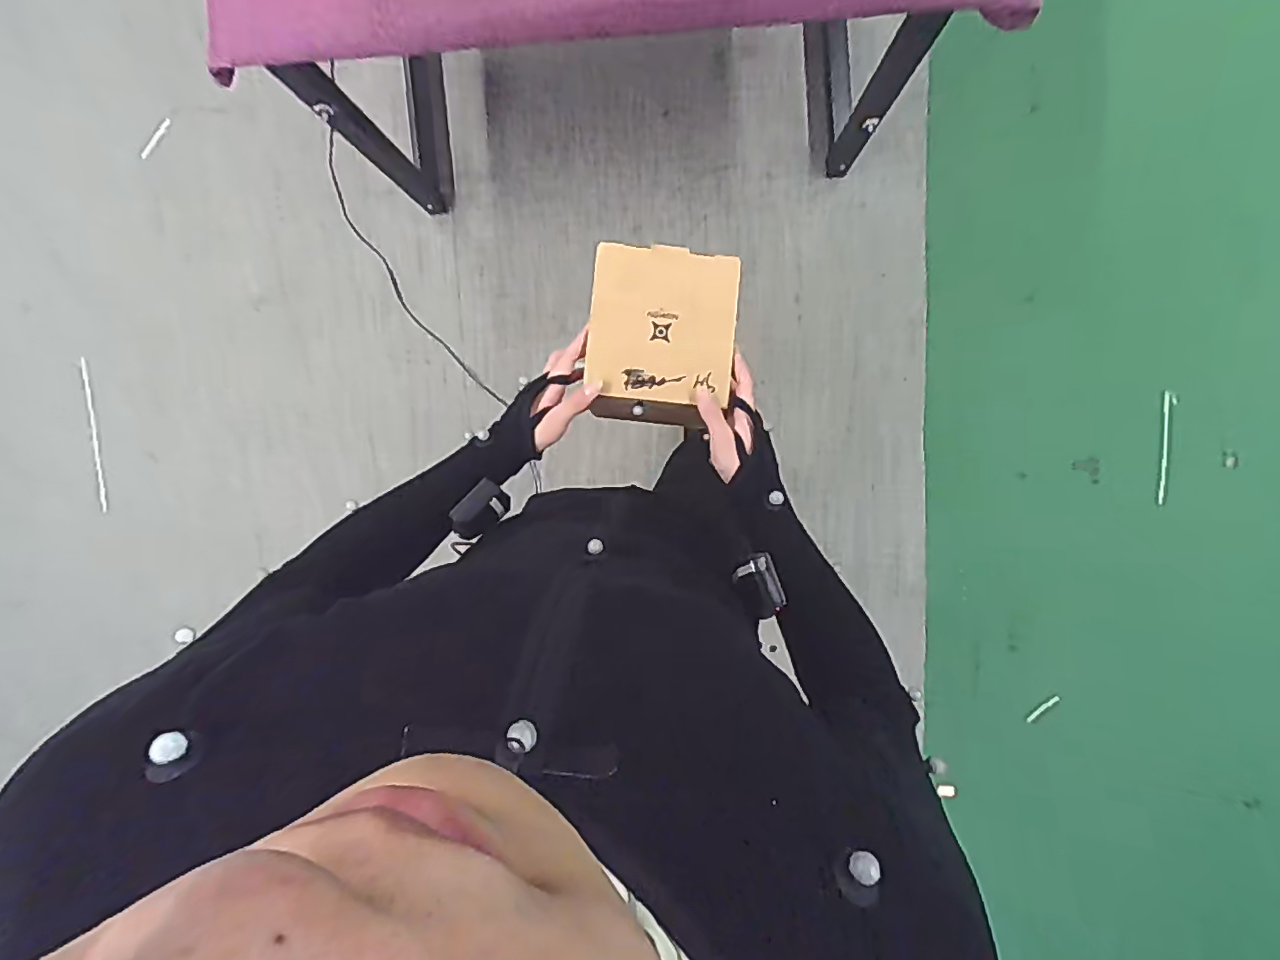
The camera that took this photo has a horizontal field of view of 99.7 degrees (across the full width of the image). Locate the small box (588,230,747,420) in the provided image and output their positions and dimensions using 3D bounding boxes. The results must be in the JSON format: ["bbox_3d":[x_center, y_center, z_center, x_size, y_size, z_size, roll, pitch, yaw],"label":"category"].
[{"bbox_3d":[0.028,-0.182,0.682,0.168,0.176,0.179,6,87,-1],"label":"small box"}]
